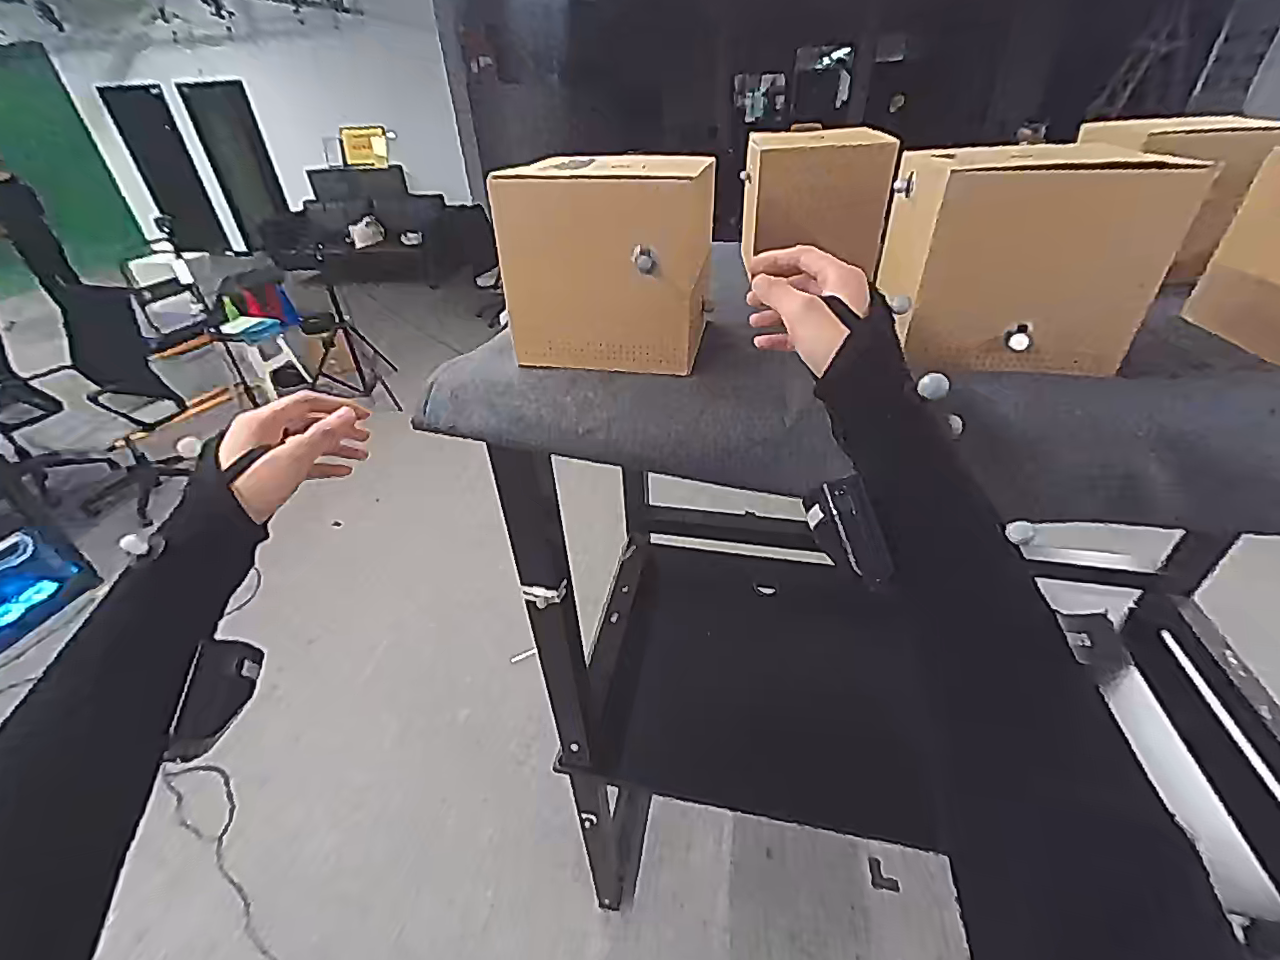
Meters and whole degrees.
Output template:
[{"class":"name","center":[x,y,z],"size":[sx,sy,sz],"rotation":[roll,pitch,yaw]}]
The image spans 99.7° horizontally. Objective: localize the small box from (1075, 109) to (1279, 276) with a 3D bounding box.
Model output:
[{"class":"small box","center":[0.662,-0.366,0.688],"size":[0.179,0.176,0.168],"rotation":[5,37,11]}]

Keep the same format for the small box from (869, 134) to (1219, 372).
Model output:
[{"class":"small box","center":[0.326,-0.206,0.488],"size":[0.179,0.176,0.168],"rotation":[5,34,10]}]

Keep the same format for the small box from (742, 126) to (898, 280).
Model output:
[{"class":"small box","center":[0.233,-0.386,0.752],"size":[0.168,0.176,0.179],"rotation":[0,35,6]}]

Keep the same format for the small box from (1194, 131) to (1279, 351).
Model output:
[{"class":"small box","center":[0.648,-0.198,0.454],"size":[0.168,0.176,0.179],"rotation":[3,35,9]}]
